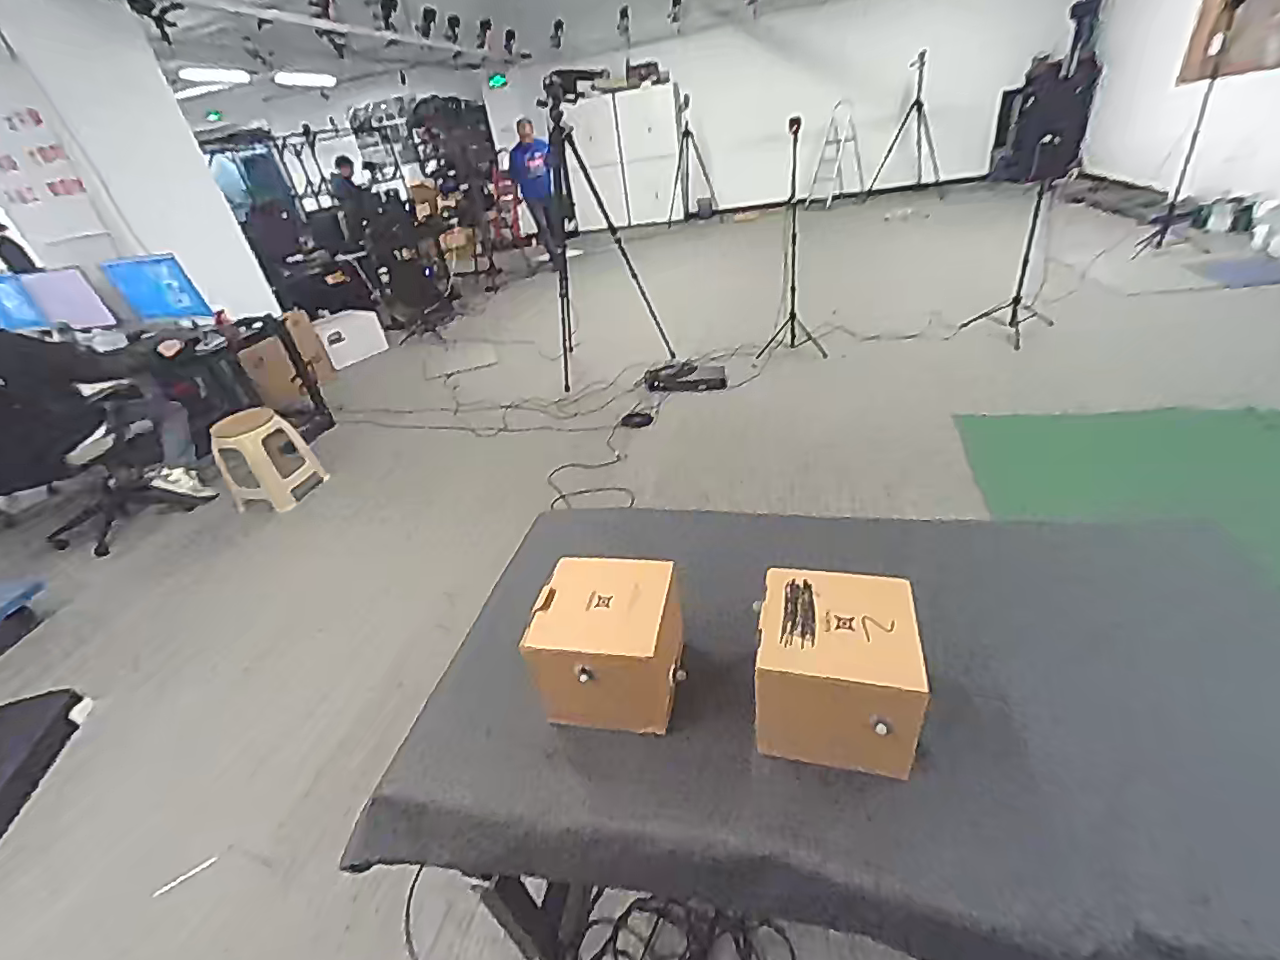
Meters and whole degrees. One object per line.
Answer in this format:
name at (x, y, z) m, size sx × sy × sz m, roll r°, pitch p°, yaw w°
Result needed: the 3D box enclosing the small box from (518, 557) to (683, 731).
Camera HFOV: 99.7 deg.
small box at (-0.043, 0.229, 0.763) m, size 0.179 × 0.176 × 0.168 m, roll 1°, pitch 35°, yaw 14°
